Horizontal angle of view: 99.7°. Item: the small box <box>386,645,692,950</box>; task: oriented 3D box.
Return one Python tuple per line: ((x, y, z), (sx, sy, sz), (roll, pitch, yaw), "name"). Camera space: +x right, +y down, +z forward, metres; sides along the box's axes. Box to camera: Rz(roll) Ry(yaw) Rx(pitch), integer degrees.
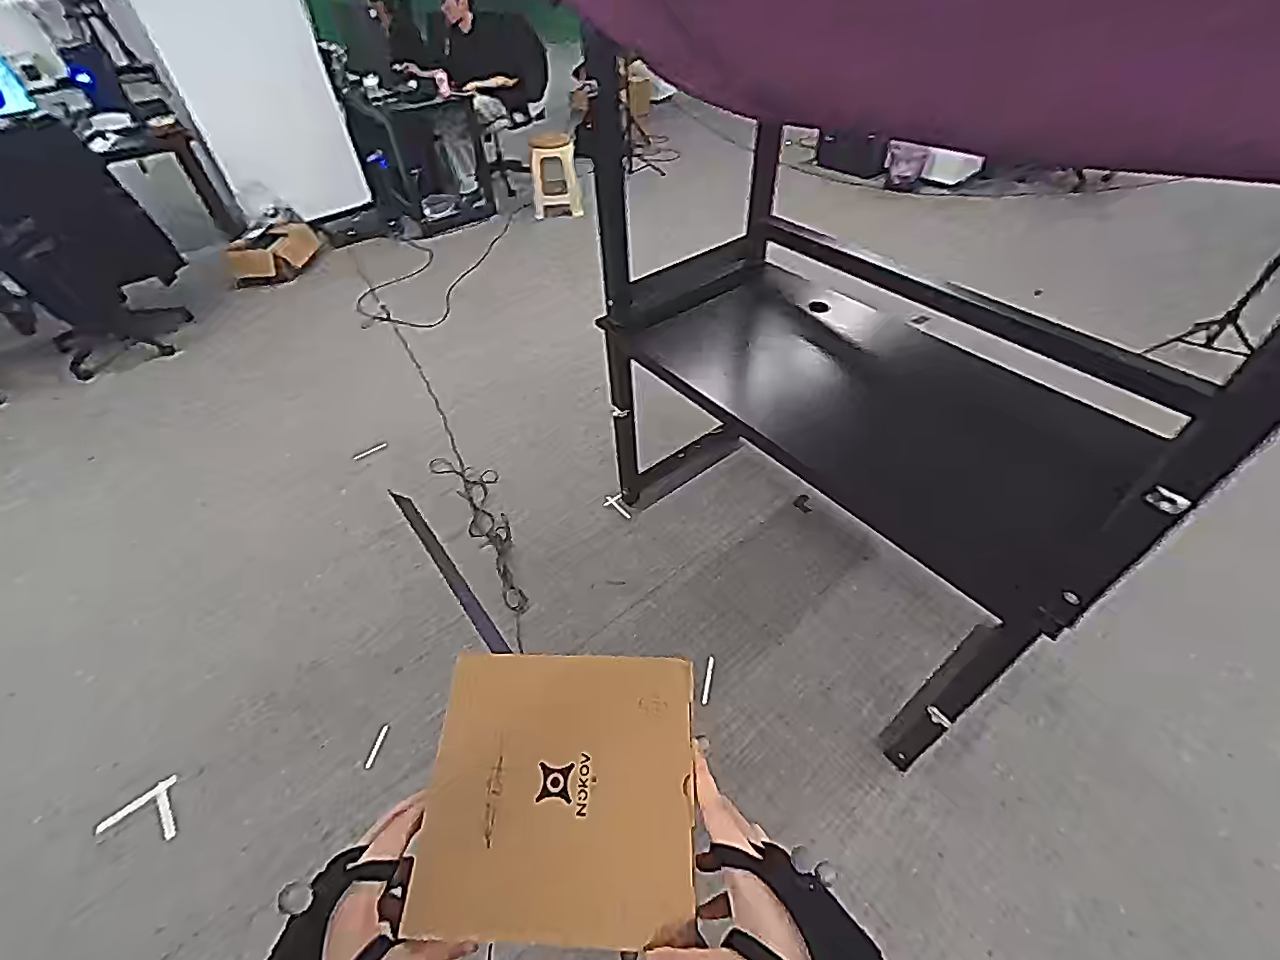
((-0.052, 0.235, 0.414), (0.179, 0.176, 0.168), (0, 55, 4), "small box")
